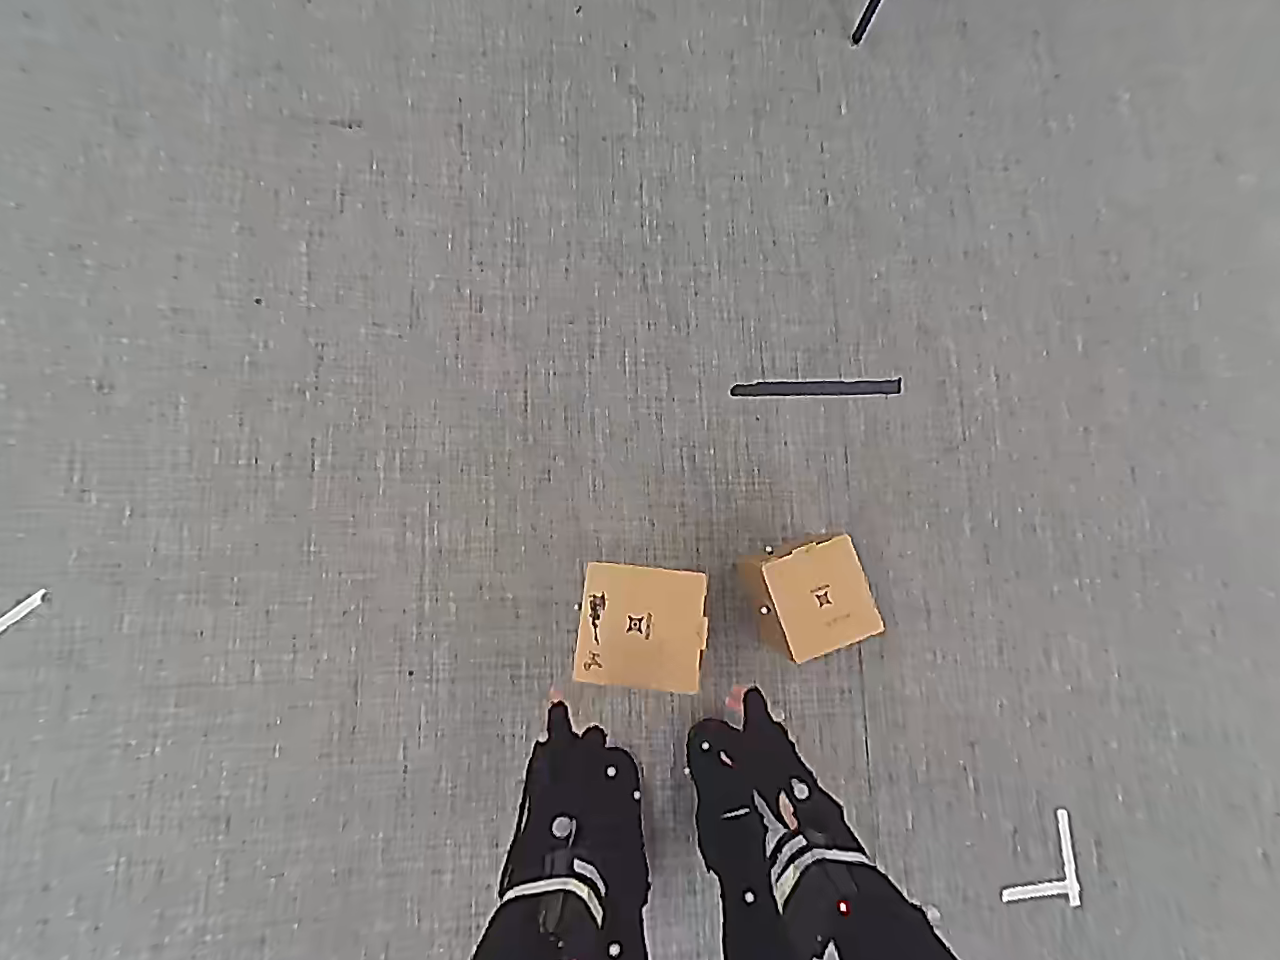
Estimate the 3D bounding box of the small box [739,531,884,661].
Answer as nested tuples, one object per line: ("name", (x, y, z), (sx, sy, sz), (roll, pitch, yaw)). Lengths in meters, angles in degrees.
("small box", (0.297, 0.202, 0.979), (0.168, 0.176, 0.179), (-20, 85, -6))
